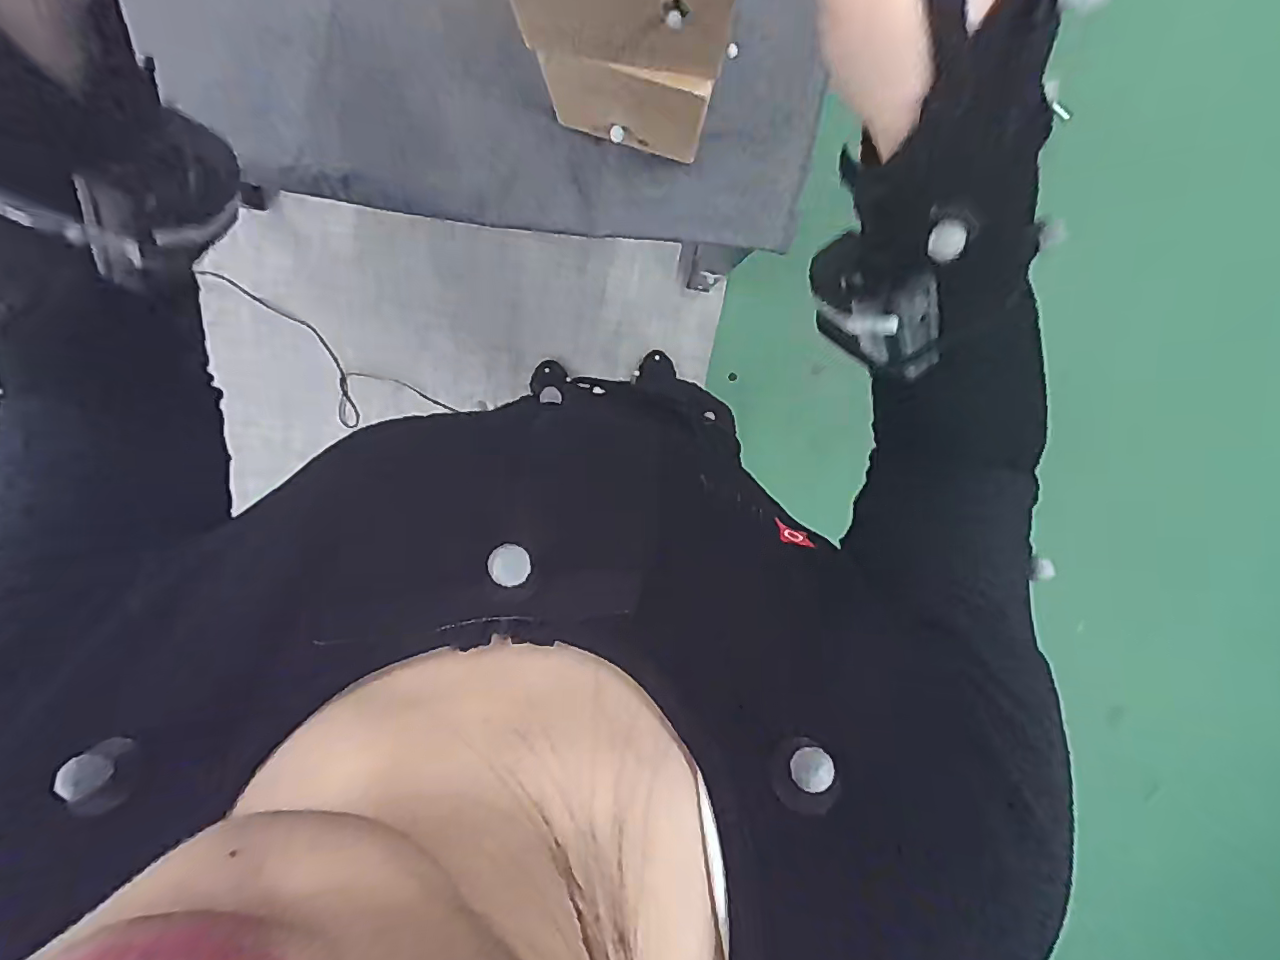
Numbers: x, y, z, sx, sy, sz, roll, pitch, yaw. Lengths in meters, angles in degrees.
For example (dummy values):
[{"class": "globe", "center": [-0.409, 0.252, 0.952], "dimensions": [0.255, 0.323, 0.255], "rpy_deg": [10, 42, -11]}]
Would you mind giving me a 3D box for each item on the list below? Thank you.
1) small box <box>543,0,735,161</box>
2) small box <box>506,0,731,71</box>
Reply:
[{"class": "small box", "center": [0.004, -0.460, 0.540], "dimensions": [0.168, 0.176, 0.179], "rpy_deg": [15, 102, -2]}, {"class": "small box", "center": [-0.008, -0.429, 0.381], "dimensions": [0.179, 0.176, 0.168], "rpy_deg": [8, 100, 0]}]
